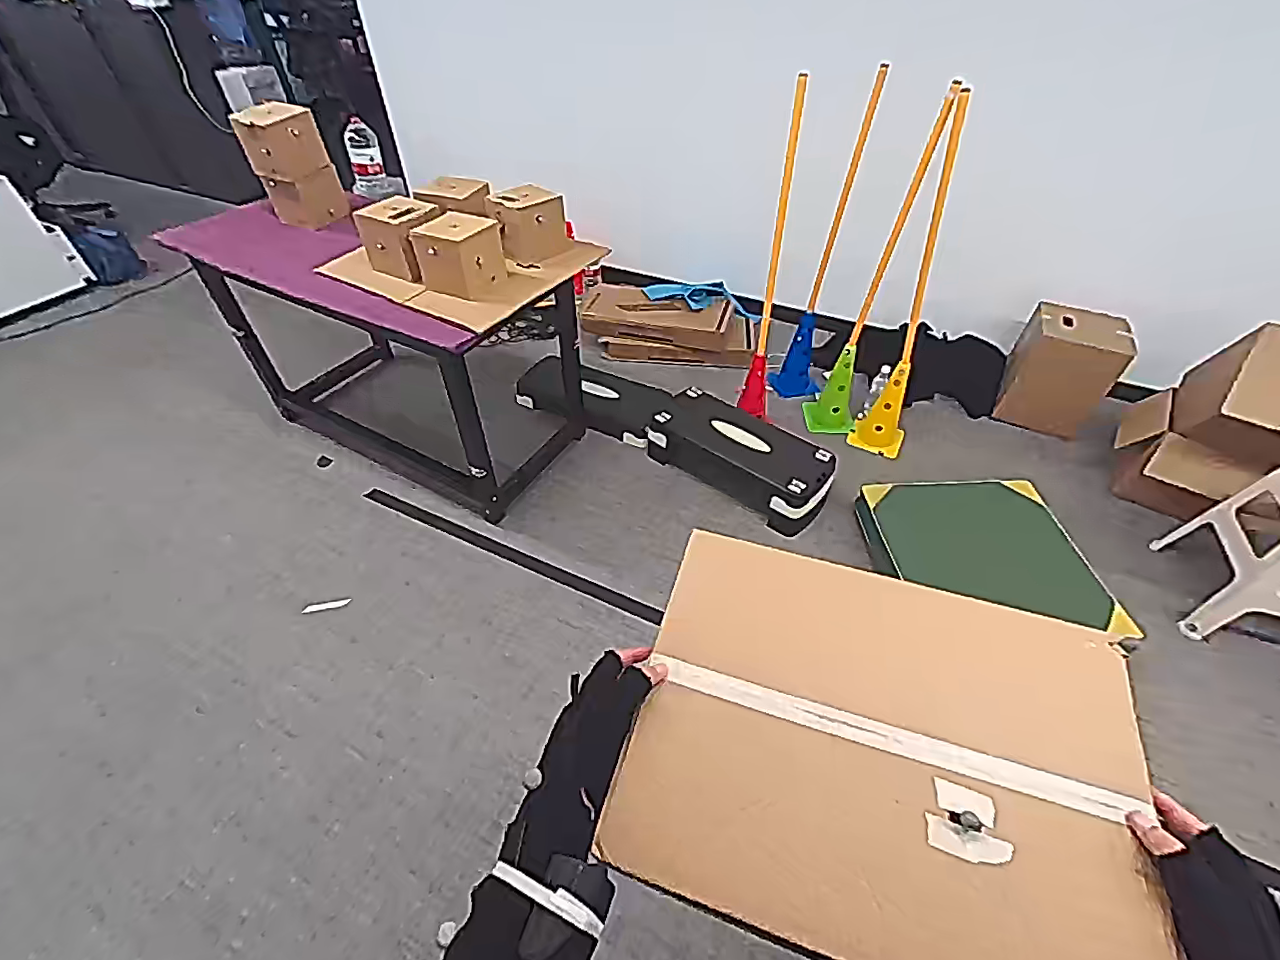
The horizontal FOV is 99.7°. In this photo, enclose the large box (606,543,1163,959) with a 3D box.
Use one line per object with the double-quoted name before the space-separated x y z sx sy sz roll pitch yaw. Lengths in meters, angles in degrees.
"large box" 0.208 0.316 0.588 0.408 0.320 0.320 13 54 13
